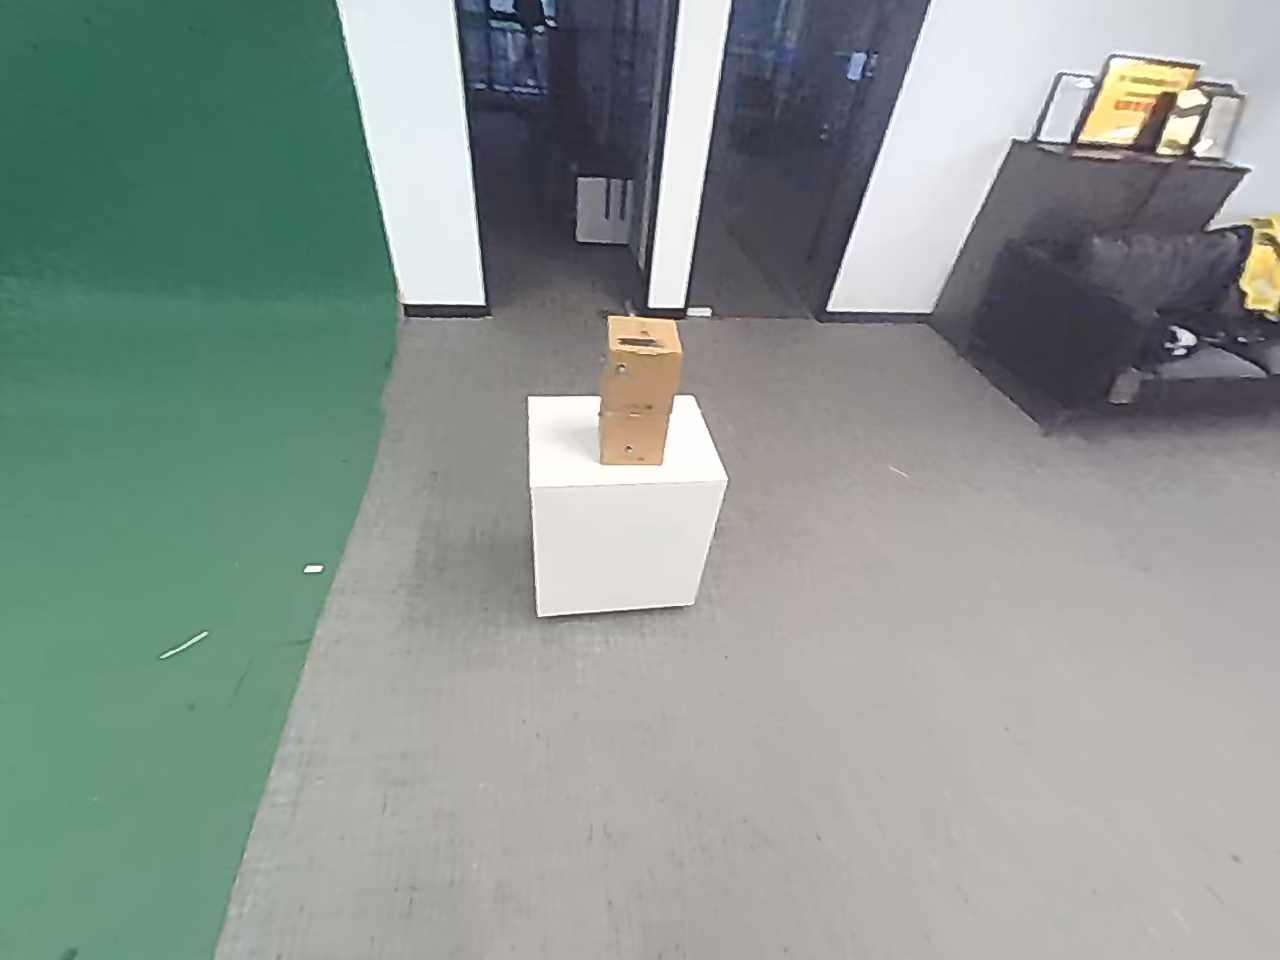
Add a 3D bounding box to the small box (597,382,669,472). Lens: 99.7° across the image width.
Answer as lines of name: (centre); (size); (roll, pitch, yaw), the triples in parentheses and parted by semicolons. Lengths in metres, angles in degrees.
small box: (-0.026, -0.140, 1.421); (0.168, 0.176, 0.179); (0, 40, -8)
